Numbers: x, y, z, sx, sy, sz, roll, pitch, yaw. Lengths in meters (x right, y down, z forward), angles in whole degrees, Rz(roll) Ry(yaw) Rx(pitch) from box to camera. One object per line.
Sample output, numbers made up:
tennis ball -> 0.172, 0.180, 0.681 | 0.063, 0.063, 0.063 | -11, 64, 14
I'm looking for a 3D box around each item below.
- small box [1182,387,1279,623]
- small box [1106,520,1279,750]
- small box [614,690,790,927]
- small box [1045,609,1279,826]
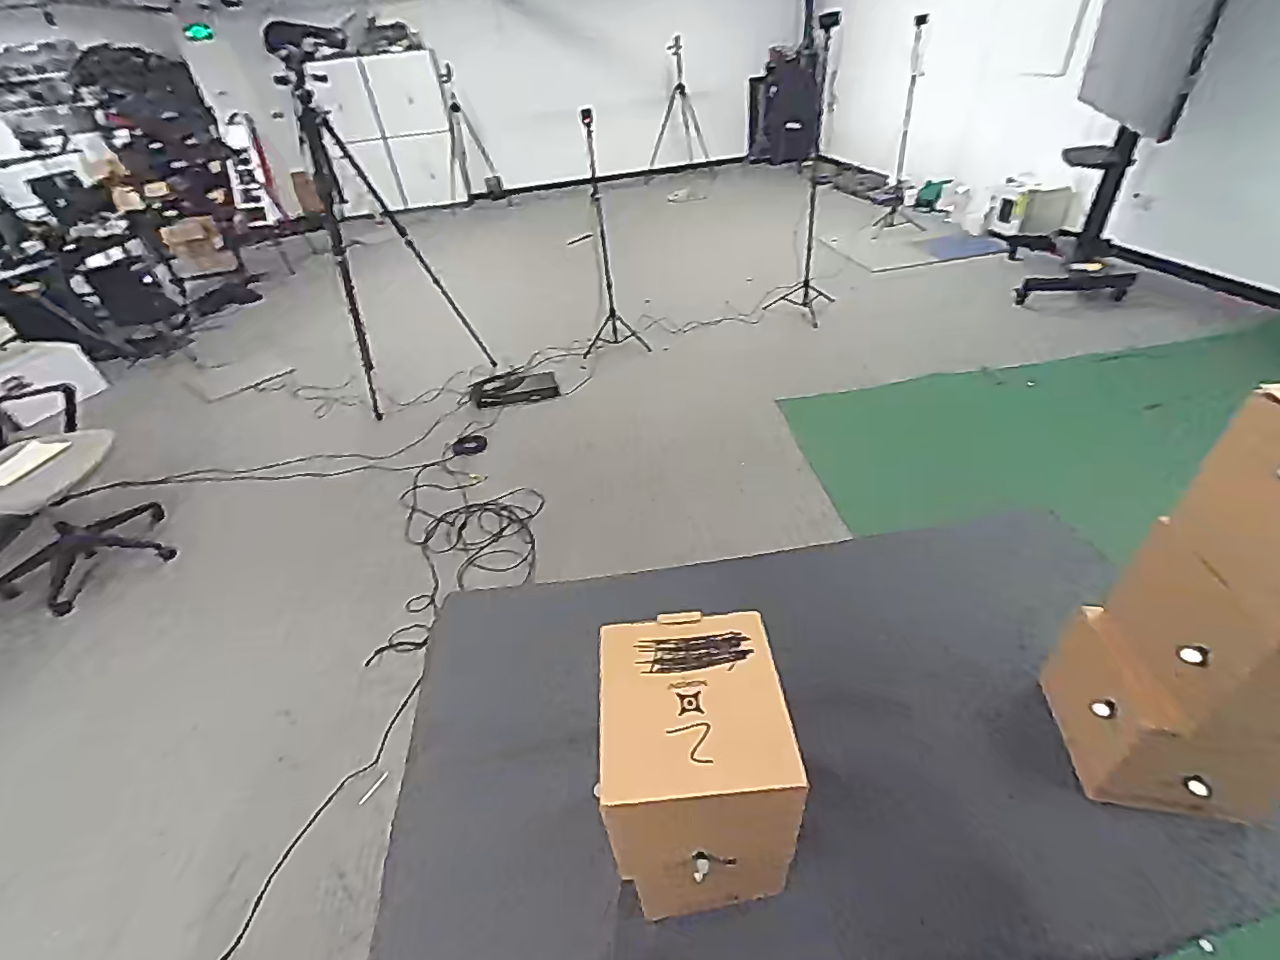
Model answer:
small box -> 0.632, 0.032, 0.452 | 0.168, 0.176, 0.179 | -4, 37, 4
small box -> 0.641, 0.160, 0.554 | 0.168, 0.176, 0.179 | 1, 36, 9
small box -> 0.065, 0.383, 0.640 | 0.168, 0.176, 0.179 | -10, 37, -3
small box -> 0.638, 0.286, 0.659 | 0.168, 0.176, 0.179 | 3, 37, 13
